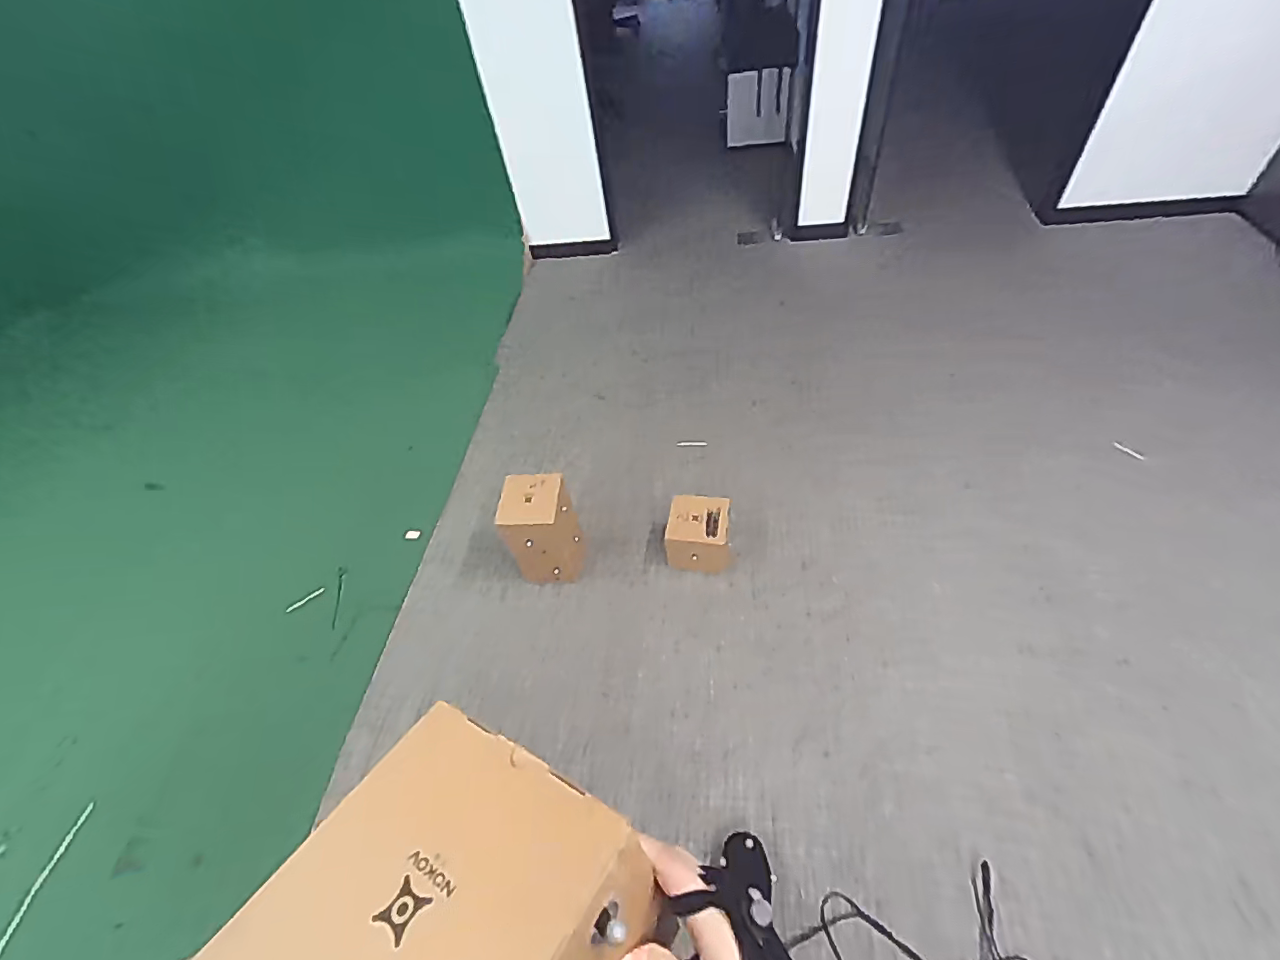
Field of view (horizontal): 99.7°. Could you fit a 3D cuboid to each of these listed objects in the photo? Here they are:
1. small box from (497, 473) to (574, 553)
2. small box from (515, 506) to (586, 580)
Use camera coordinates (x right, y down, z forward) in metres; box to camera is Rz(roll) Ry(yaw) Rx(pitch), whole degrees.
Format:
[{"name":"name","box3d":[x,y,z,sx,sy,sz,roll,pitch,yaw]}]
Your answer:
[{"name":"small box","box3d":[-0.293,0.099,1.562,0.168,0.176,0.179,-1,51,7]},{"name":"small box","box3d":[-0.271,0.200,1.690,0.168,0.176,0.179,0,51,8]}]
